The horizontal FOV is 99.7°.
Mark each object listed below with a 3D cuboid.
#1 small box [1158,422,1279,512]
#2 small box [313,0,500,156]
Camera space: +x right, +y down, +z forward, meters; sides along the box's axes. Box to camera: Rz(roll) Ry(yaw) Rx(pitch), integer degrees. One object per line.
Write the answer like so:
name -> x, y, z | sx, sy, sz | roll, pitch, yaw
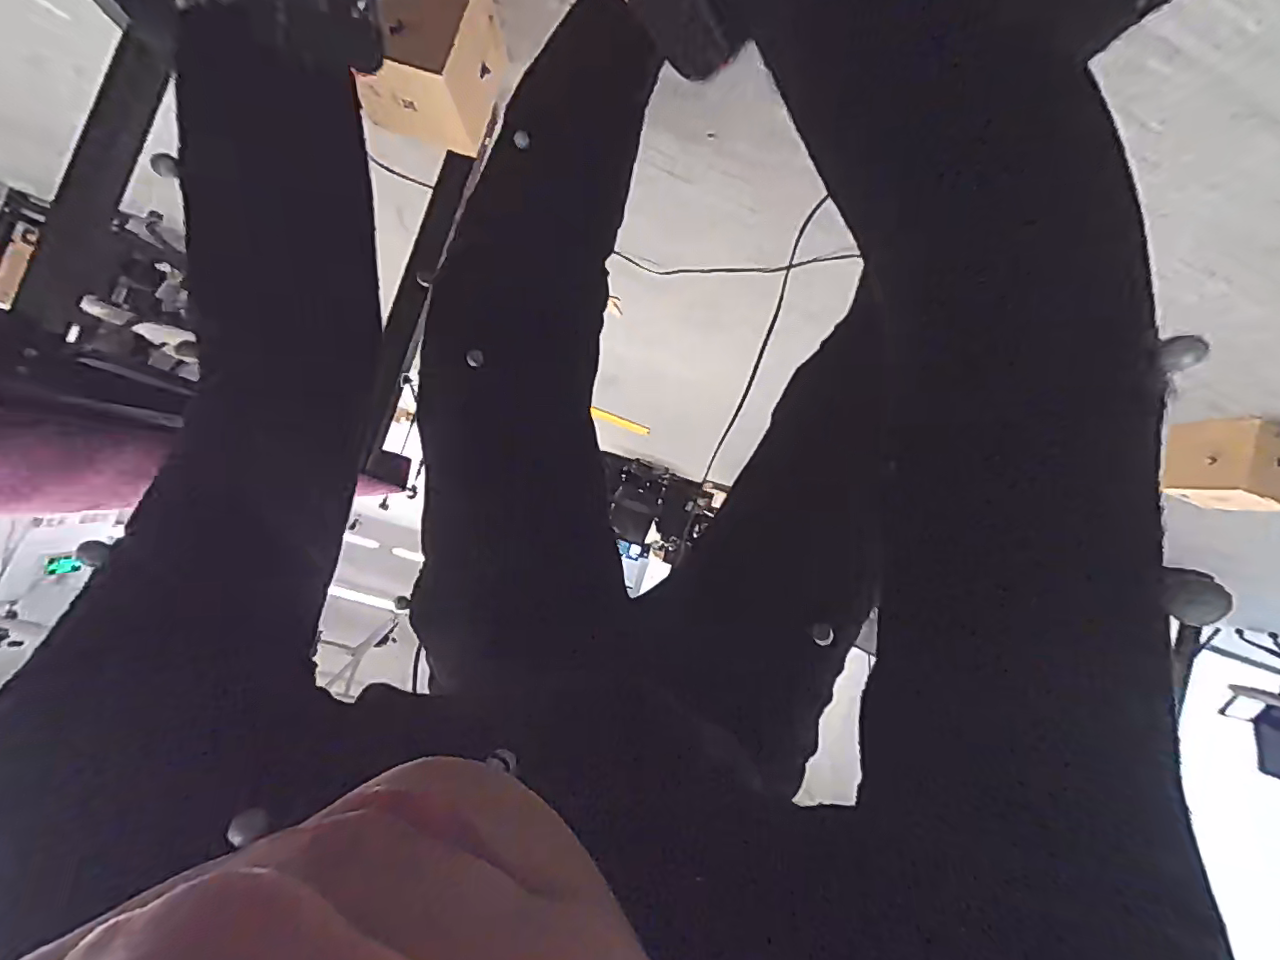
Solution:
small box -> 1.381, -0.030, 1.263 | 0.168, 0.176, 0.179 | 19, 176, -11
small box -> -0.311, -0.610, 0.764 | 0.179, 0.176, 0.168 | 18, 176, -2
